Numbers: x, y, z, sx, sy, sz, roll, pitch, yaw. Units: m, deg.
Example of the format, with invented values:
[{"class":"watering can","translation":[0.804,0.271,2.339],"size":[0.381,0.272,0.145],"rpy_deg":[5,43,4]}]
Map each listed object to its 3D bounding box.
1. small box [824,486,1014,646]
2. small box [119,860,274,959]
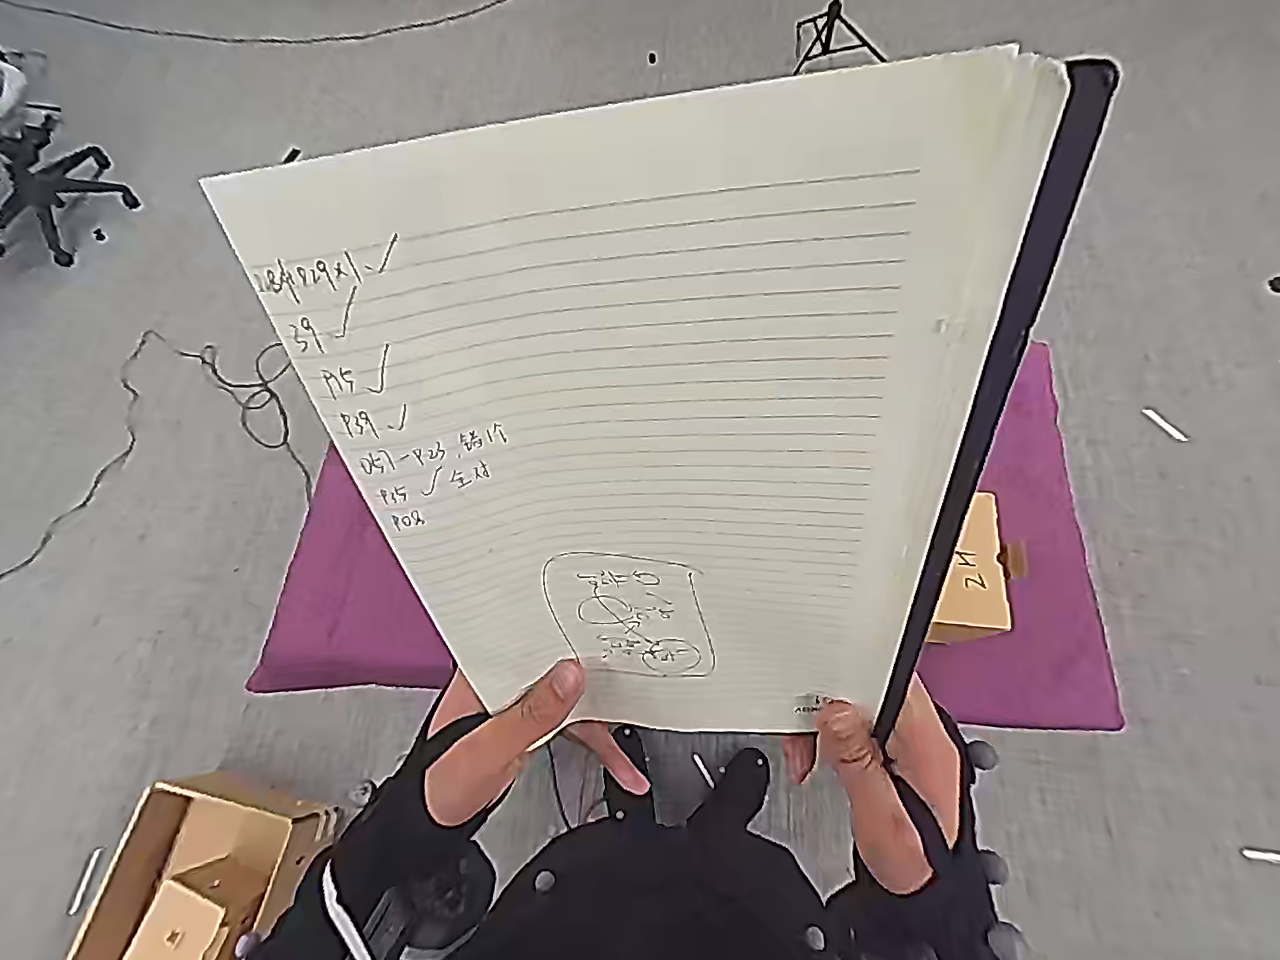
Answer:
[{"class":"small box","translation":[0.346,0.119,0.709],"size":[0.179,0.176,0.168],"rpy_deg":[5,69,7]},{"class":"small box","translation":[-0.983,0.996,1.218],"size":[0.179,0.176,0.168],"rpy_deg":[17,71,11]}]
